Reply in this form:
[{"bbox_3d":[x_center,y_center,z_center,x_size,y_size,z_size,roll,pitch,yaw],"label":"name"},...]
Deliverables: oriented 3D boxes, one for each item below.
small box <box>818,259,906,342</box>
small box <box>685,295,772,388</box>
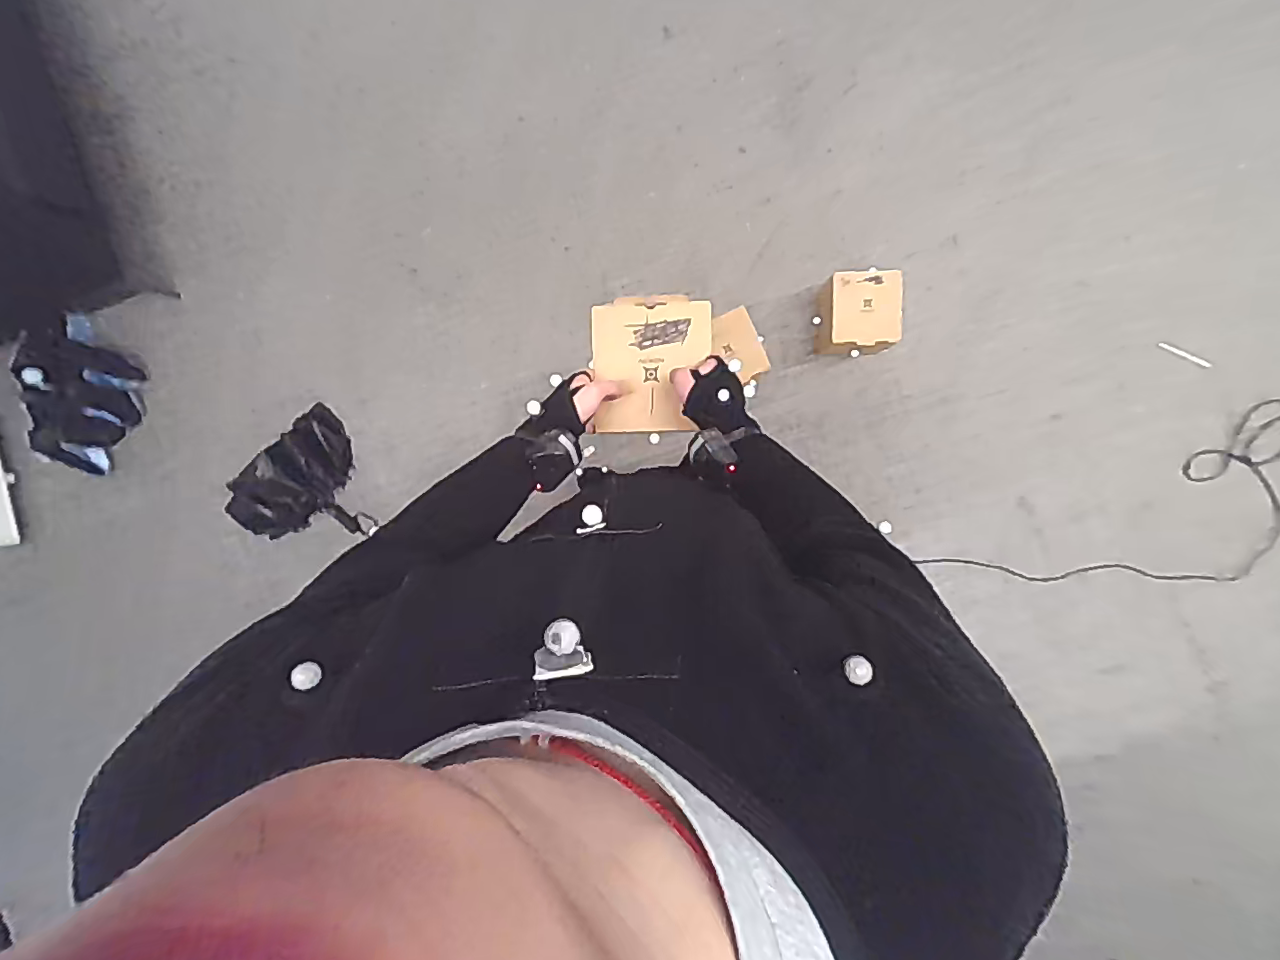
[{"bbox_3d":[0.562,-0.452,1.387,0.168,0.176,0.179,0,95,5],"label":"small box"},{"bbox_3d":[0.228,-0.354,1.424,0.168,0.176,0.179,-25,91,5],"label":"small box"}]
